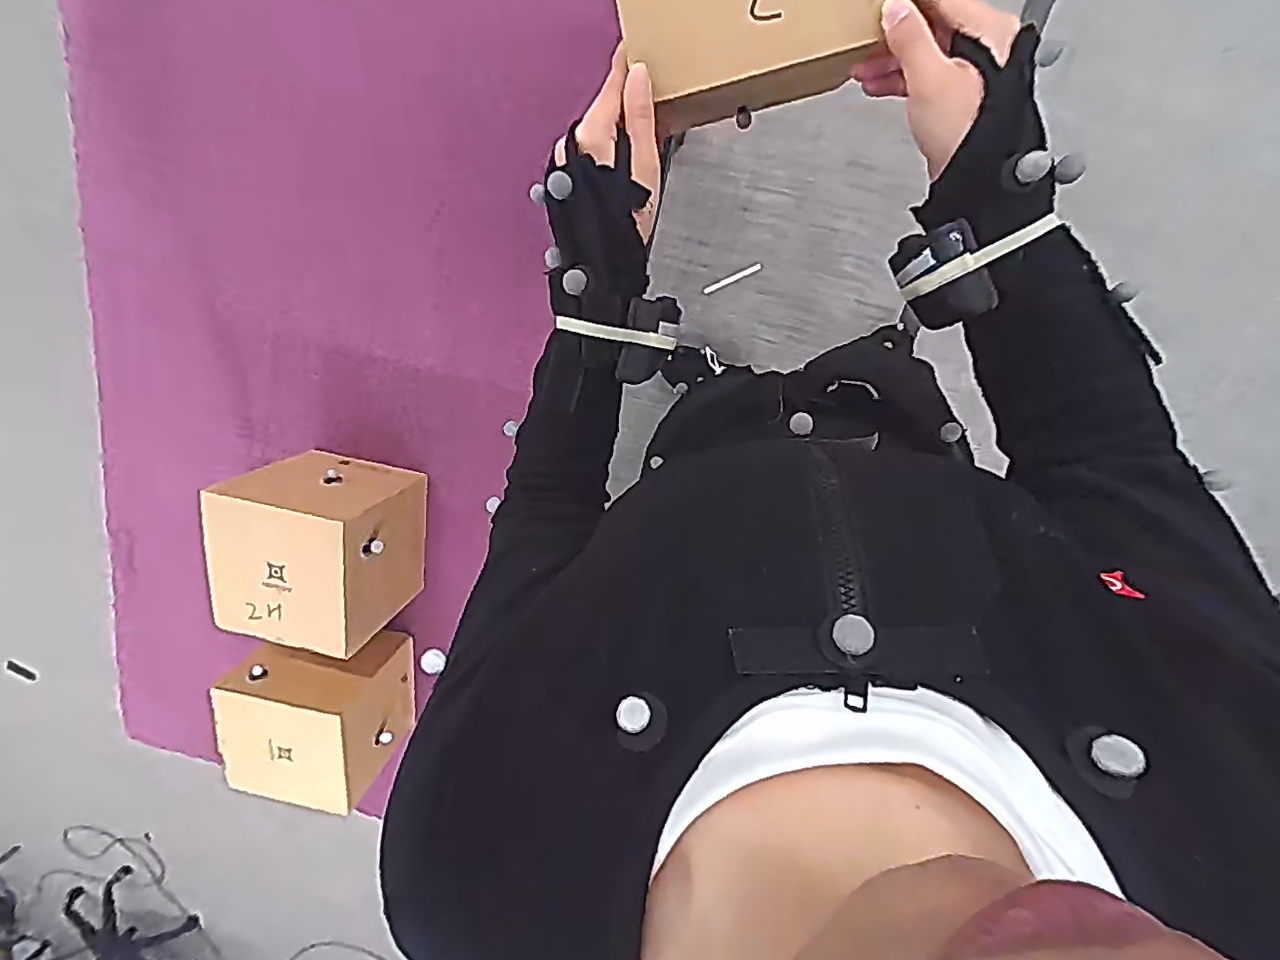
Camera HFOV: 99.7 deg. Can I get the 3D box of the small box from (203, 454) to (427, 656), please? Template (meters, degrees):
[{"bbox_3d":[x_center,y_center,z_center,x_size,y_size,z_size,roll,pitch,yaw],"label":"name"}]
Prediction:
[{"bbox_3d":[-0.380,0.078,0.661,0.168,0.176,0.179,12,109,6],"label":"small box"}]

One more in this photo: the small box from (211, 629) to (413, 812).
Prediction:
[{"bbox_3d":[-0.434,0.312,0.750,0.179,0.176,0.168,9,109,7],"label":"small box"}]
